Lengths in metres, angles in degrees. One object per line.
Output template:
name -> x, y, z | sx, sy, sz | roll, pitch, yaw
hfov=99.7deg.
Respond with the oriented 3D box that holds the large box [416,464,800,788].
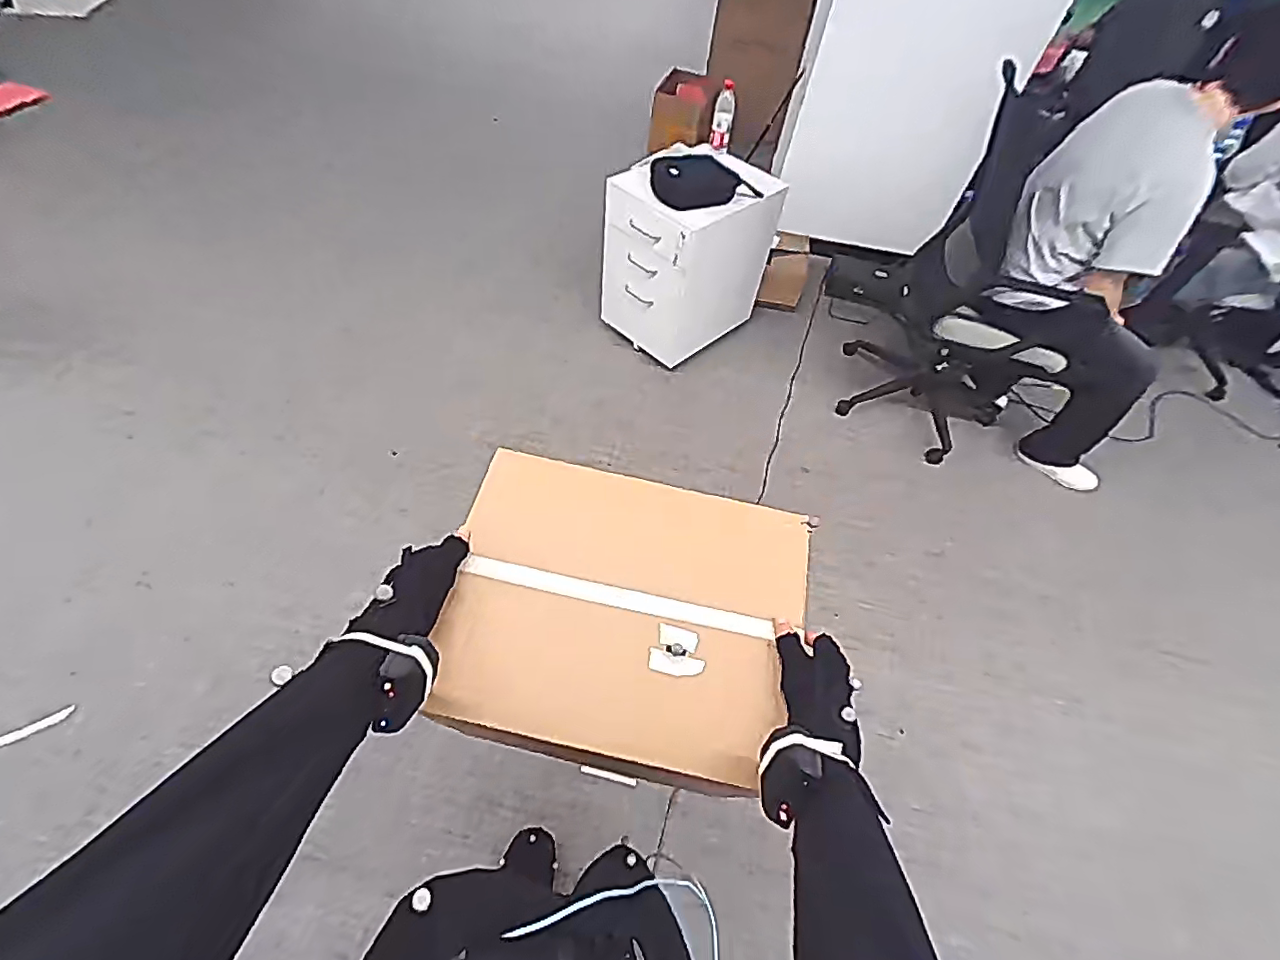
large box -> -0.029, 0.219, 0.758 | 0.408, 0.320, 0.320 | 13, 60, 1
